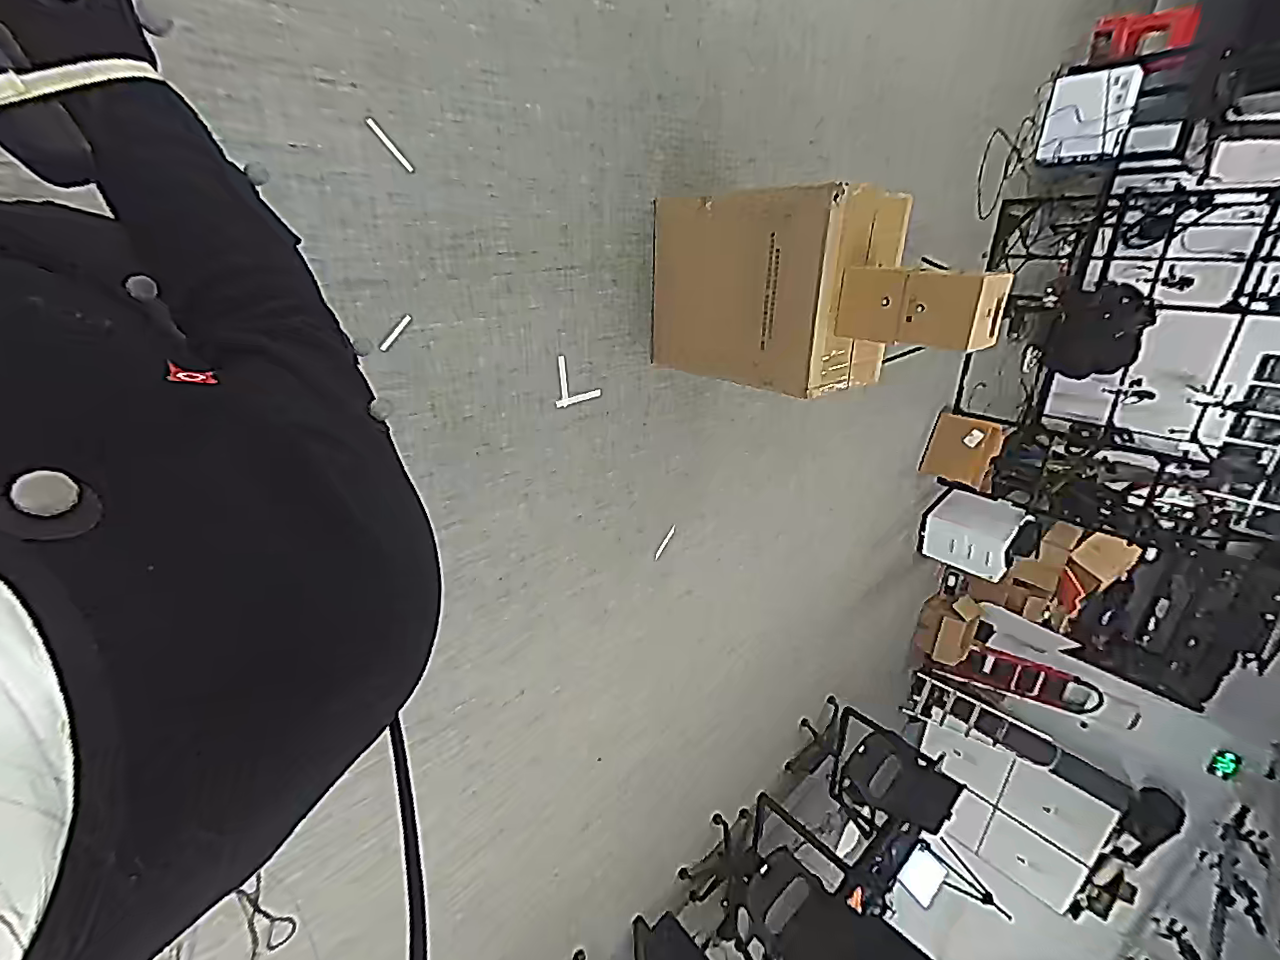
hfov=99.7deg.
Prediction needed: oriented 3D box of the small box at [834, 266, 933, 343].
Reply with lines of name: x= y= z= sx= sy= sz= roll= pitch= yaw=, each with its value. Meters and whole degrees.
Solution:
small box: x=0.627 y=-0.461 z=1.406 sx=0.168 sy=0.176 sz=0.179 roll=-19 pitch=121 yaw=-37
